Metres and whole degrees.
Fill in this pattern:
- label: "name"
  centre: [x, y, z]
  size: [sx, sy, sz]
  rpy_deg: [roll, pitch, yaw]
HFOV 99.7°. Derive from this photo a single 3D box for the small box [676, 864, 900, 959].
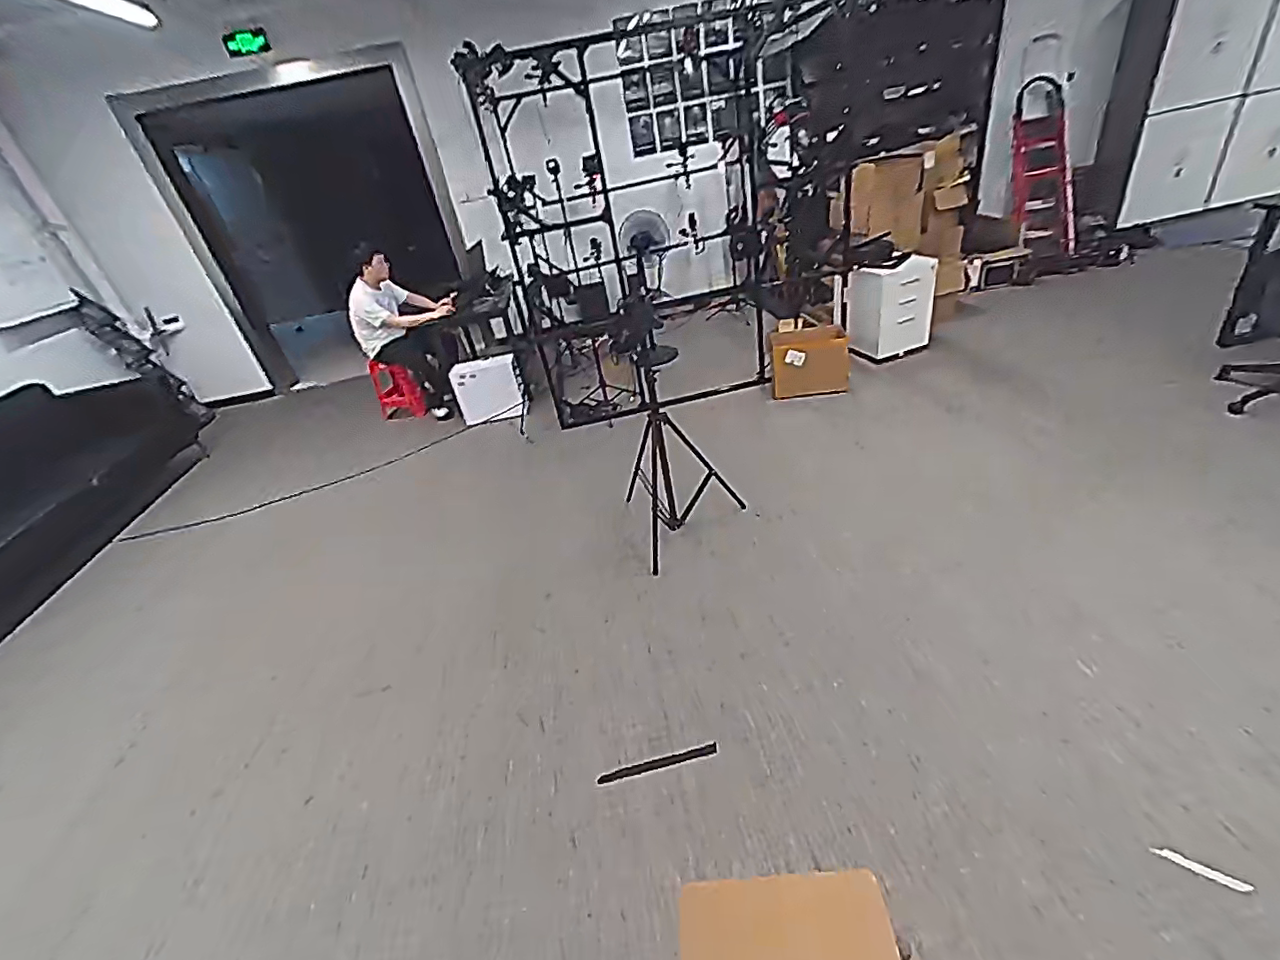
- label: "small box"
  centre: [0.122, 0.438, 0.428]
  size: [0.168, 0.176, 0.179]
  rpy_deg: [-8, 38, 5]
